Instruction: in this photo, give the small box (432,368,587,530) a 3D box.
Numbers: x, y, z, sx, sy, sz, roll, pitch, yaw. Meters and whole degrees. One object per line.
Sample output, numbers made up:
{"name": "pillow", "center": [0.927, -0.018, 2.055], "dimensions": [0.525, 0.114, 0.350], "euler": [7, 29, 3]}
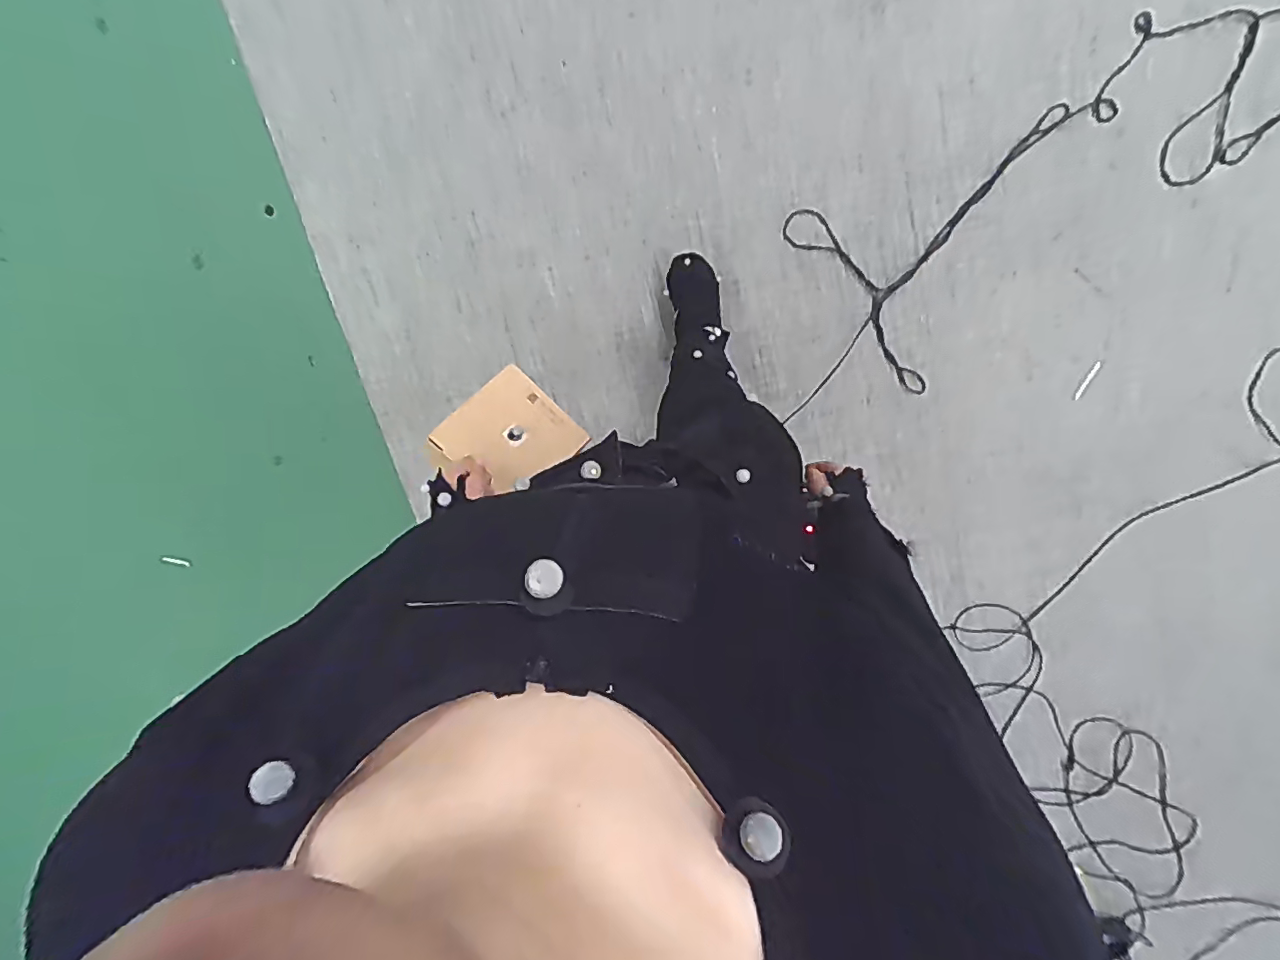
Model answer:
{"name": "small box", "center": [-0.206, -0.046, 0.859], "dimensions": [0.168, 0.179, 0.176], "euler": [43, 68, -5]}
